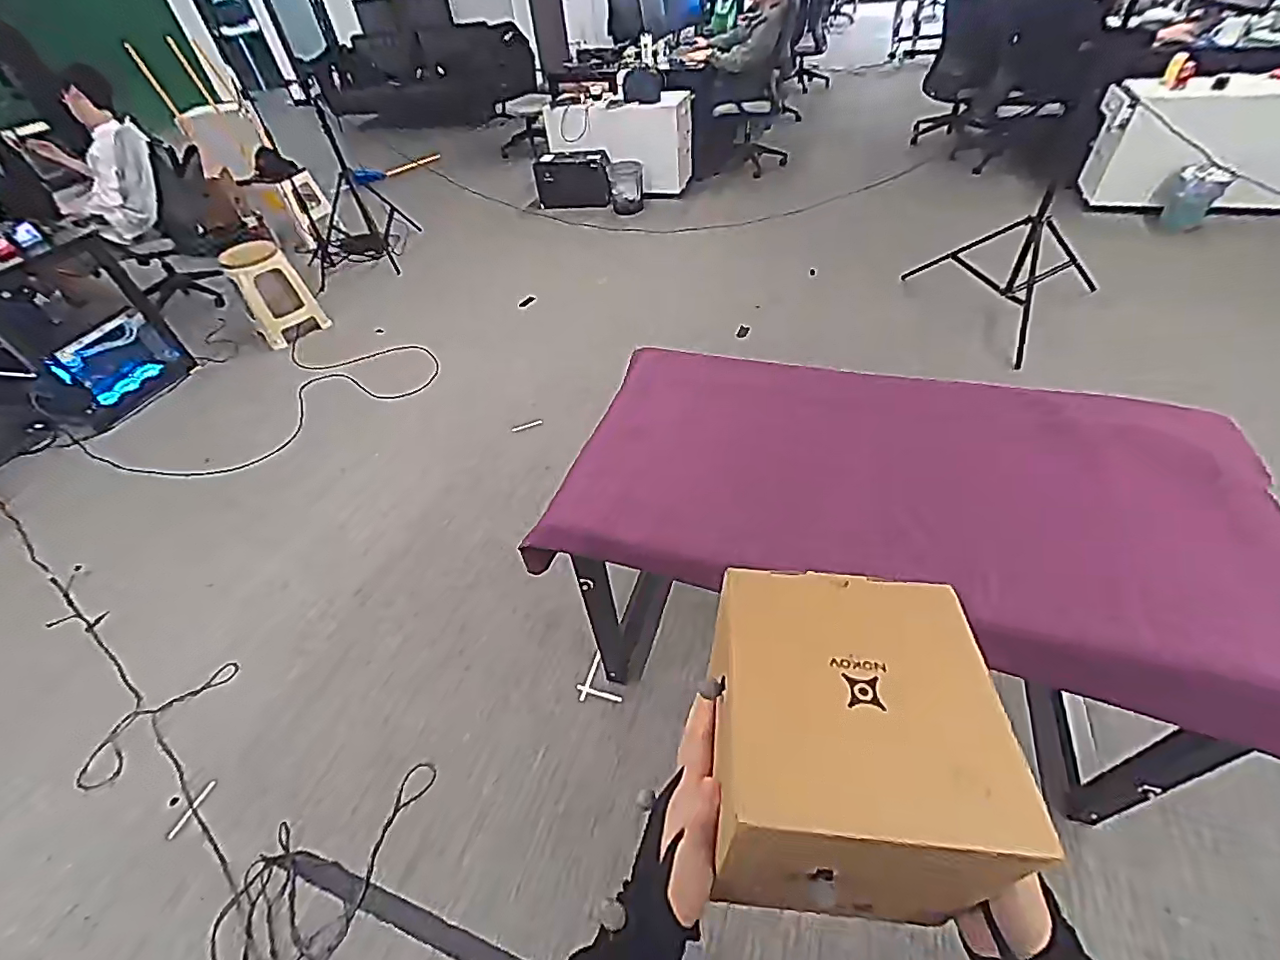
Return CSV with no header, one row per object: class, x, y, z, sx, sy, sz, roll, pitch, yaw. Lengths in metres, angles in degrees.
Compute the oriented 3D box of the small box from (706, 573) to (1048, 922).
small box,0.139,0.194,0.397,0.168,0.176,0.179,4,40,4
